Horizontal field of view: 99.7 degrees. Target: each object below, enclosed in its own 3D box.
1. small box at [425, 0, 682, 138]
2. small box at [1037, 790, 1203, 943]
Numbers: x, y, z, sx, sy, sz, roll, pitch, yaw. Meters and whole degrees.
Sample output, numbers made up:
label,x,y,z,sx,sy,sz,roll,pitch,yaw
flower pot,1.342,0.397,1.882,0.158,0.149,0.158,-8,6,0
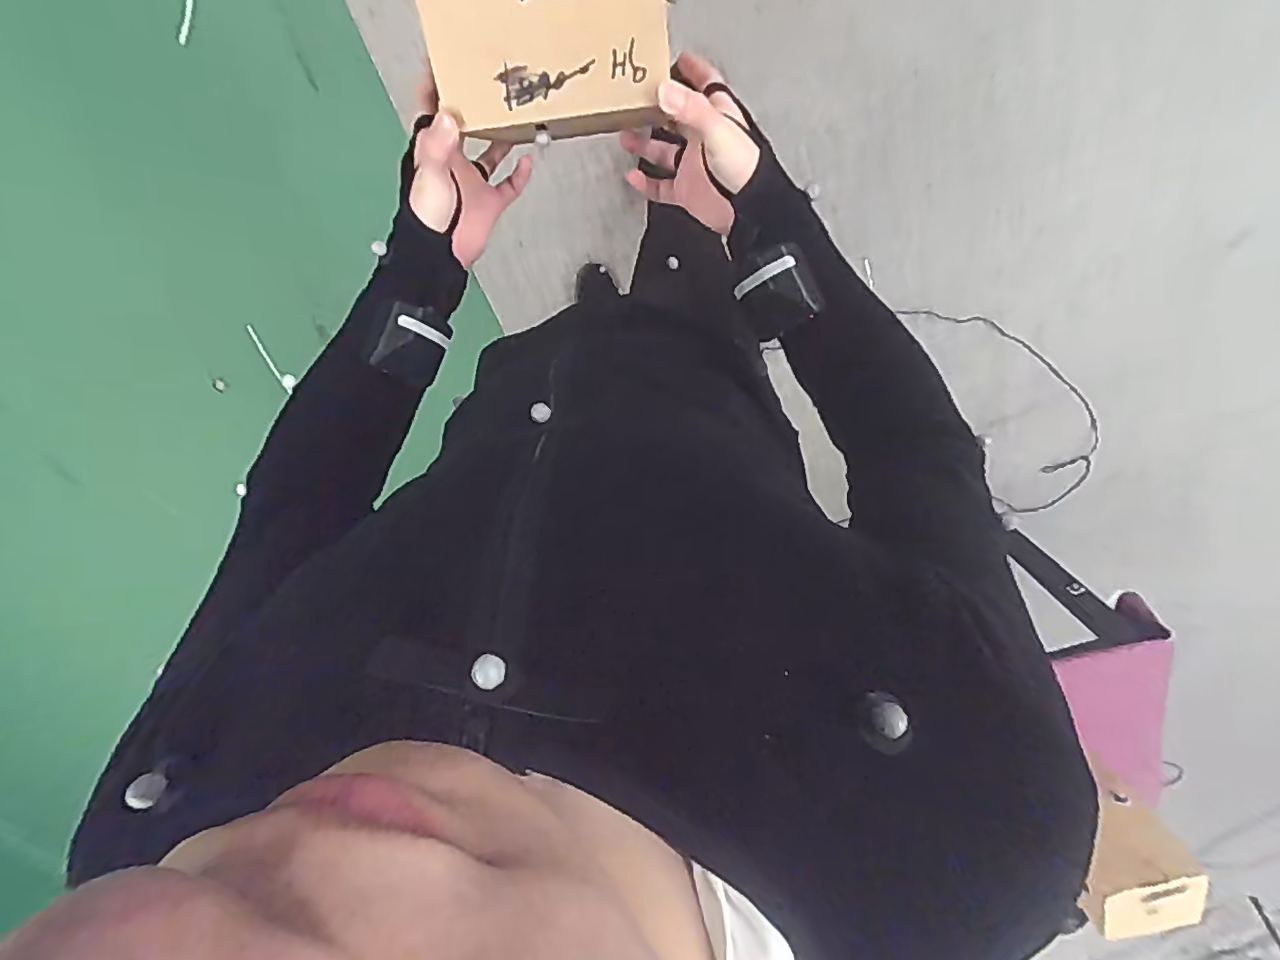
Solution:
label,x,y,z,sx,sy,sz,roll,pitch,yaw
small box,-0.058,-0.372,0.403,0.168,0.176,0.179,-4,119,5
small box,0.880,0.711,1.011,0.168,0.176,0.179,-19,117,8
